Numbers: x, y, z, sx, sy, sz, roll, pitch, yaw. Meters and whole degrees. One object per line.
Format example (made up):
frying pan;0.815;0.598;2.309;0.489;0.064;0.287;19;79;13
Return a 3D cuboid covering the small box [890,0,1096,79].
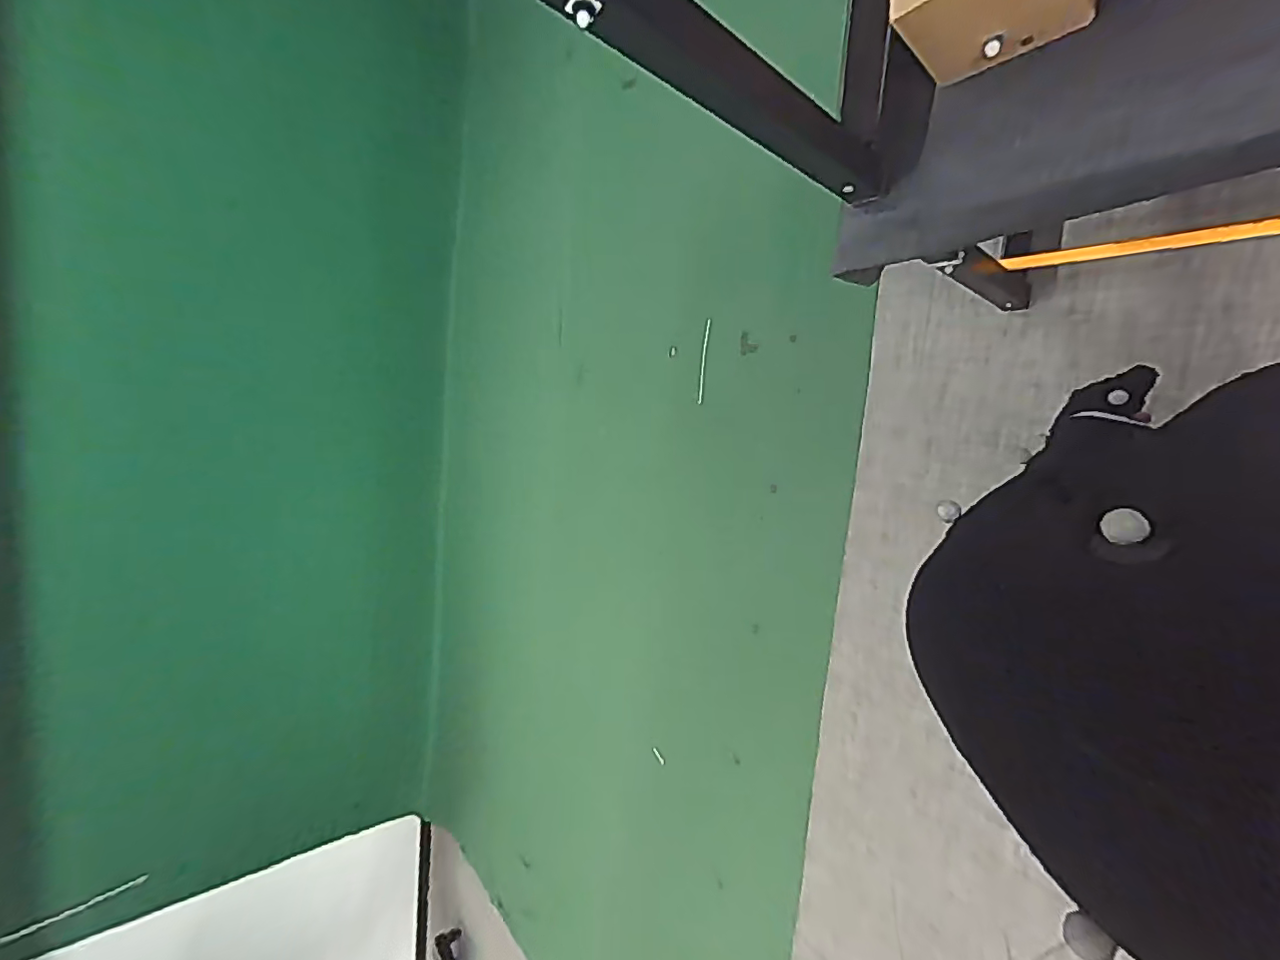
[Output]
small box;0.413;-0.621;0.622;0.168;0.176;0.179;7;96;49
